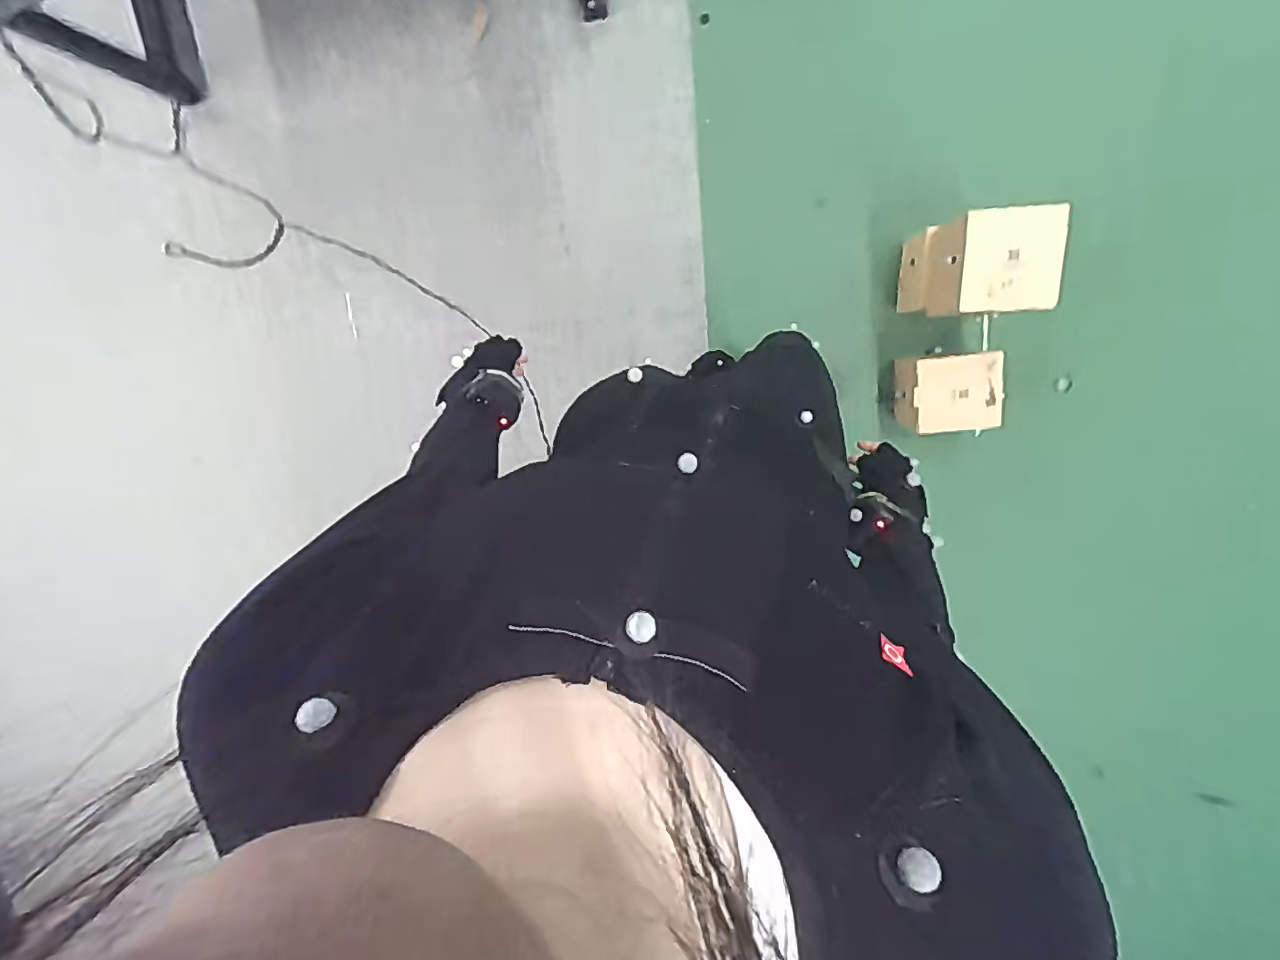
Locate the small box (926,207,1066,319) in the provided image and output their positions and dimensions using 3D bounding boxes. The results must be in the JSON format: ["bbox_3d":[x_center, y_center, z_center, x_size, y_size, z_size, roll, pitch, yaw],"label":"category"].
[{"bbox_3d":[0.672,-0.409,1.044,0.168,0.176,0.179,1,103,8],"label":"small box"}]

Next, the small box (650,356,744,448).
[{"bbox_3d":[0.142,-0.193,1.366,0.168,0.176,0.179,-21,80,26],"label":"small box"}]

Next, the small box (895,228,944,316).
[{"bbox_3d":[0.686,-0.456,1.202,0.179,0.176,0.168,2,104,8],"label":"small box"}]
